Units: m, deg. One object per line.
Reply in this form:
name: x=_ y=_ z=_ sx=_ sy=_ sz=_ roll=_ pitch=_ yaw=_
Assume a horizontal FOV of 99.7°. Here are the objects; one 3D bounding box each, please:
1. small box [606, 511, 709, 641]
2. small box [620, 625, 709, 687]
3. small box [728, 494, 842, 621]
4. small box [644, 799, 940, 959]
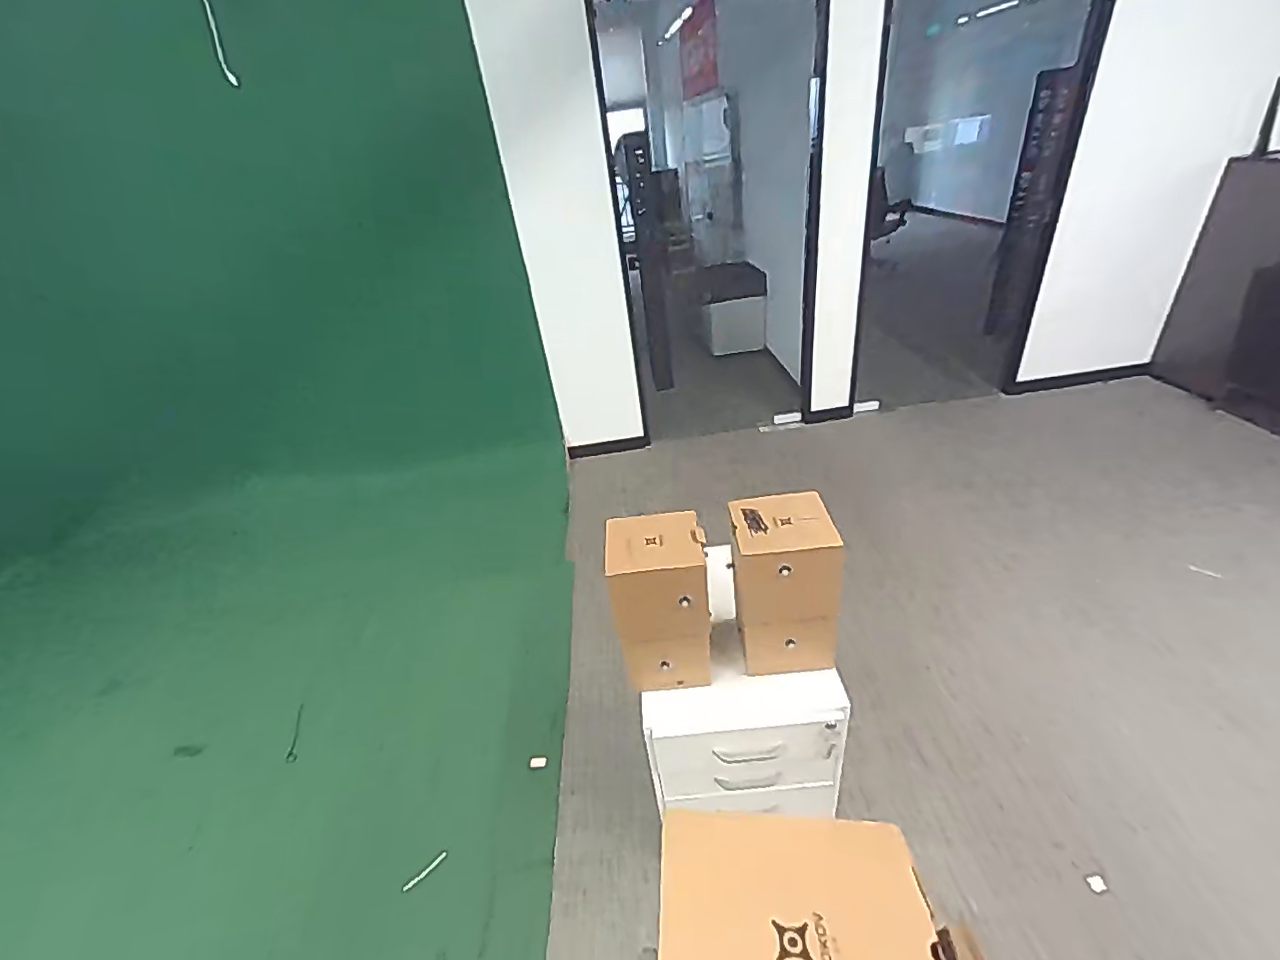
small box: x=0.034 y=0.181 z=1.017 sx=0.179 sy=0.176 sz=0.168 roll=-7 pitch=31 yaw=2
small box: x=0.051 y=0.309 z=1.116 sx=0.168 sy=0.176 sz=0.179 roll=-5 pitch=32 yaw=2
small box: x=0.267 y=0.147 z=1.016 sx=0.179 sy=0.176 sz=0.168 roll=-6 pitch=32 yaw=4
small box: x=0.092 y=0.351 z=0.363 sx=0.179 sy=0.176 sz=0.168 roll=2 pitch=22 yaw=4
